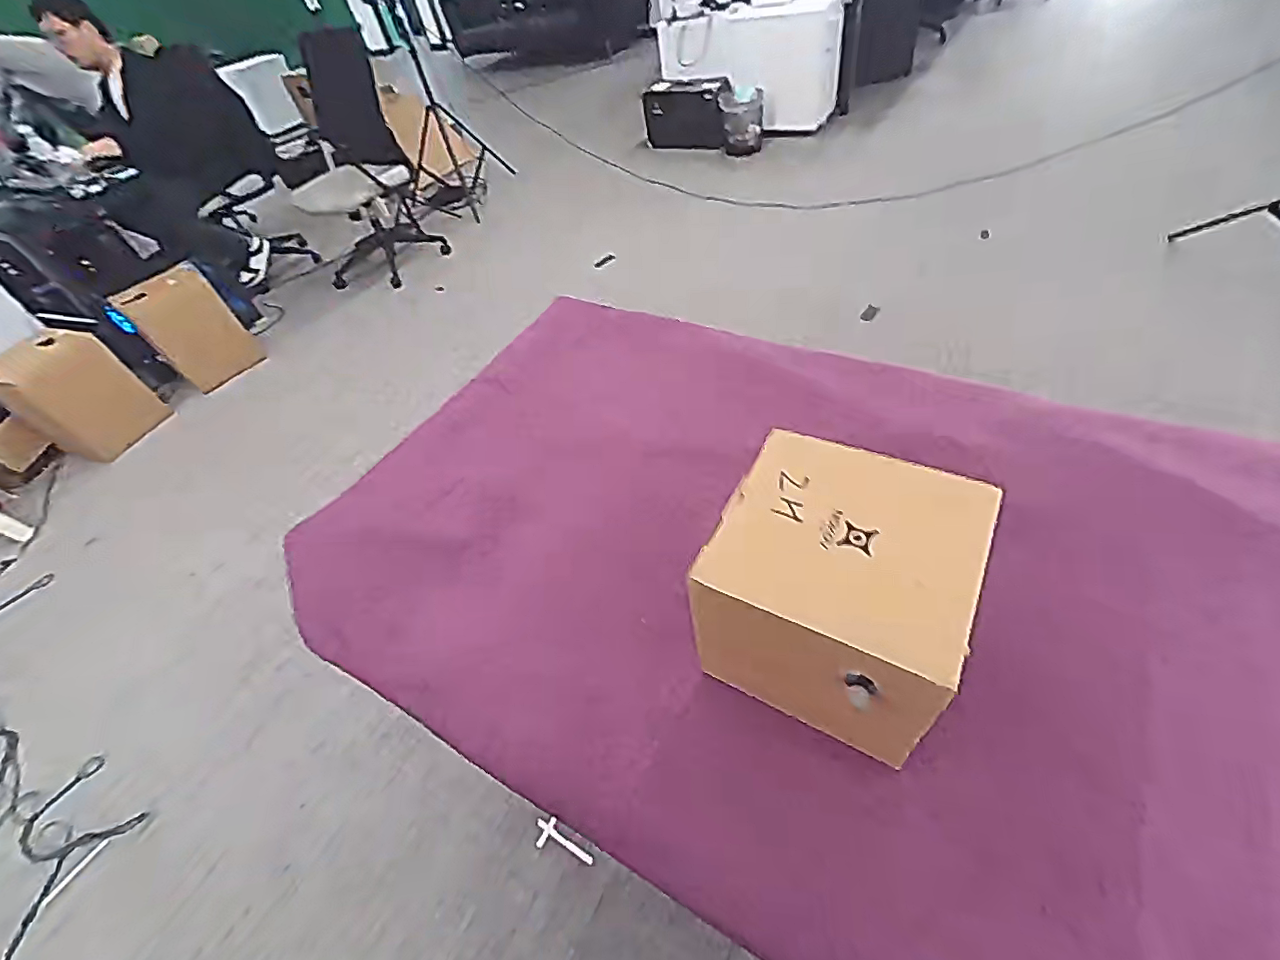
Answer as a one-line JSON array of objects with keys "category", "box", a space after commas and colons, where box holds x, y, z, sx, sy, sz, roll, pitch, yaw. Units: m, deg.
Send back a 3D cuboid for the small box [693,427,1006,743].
[{"category": "small box", "box": [0.163, 0.088, 0.446, 0.179, 0.176, 0.168, 19, 54, 27]}]
